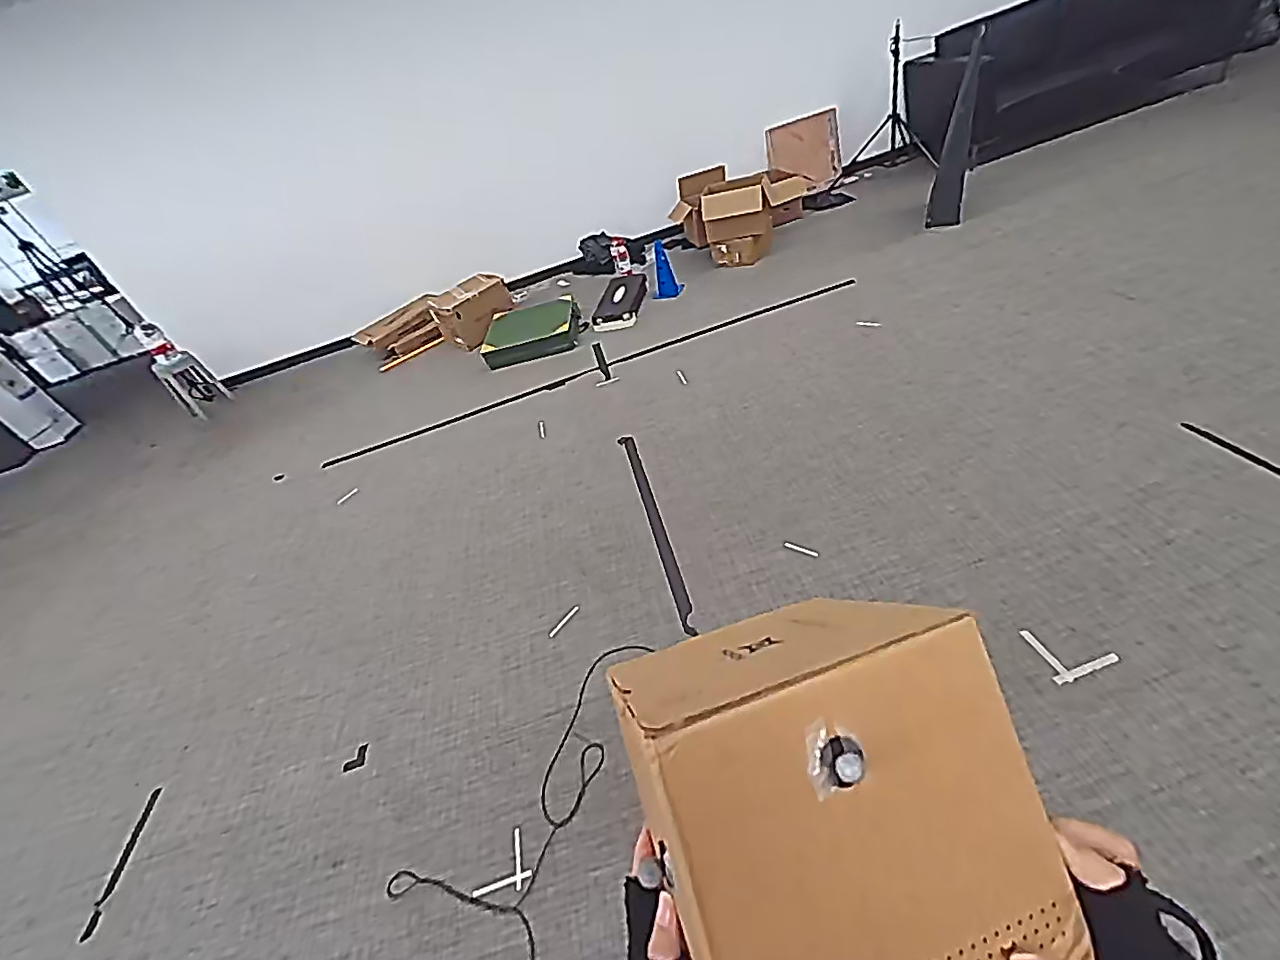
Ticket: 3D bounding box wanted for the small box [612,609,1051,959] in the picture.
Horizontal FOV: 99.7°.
[{"bbox_3d":[0.095,0.190,0.332,0.179,0.168,0.176,-15,83,-11],"label":"small box"}]
